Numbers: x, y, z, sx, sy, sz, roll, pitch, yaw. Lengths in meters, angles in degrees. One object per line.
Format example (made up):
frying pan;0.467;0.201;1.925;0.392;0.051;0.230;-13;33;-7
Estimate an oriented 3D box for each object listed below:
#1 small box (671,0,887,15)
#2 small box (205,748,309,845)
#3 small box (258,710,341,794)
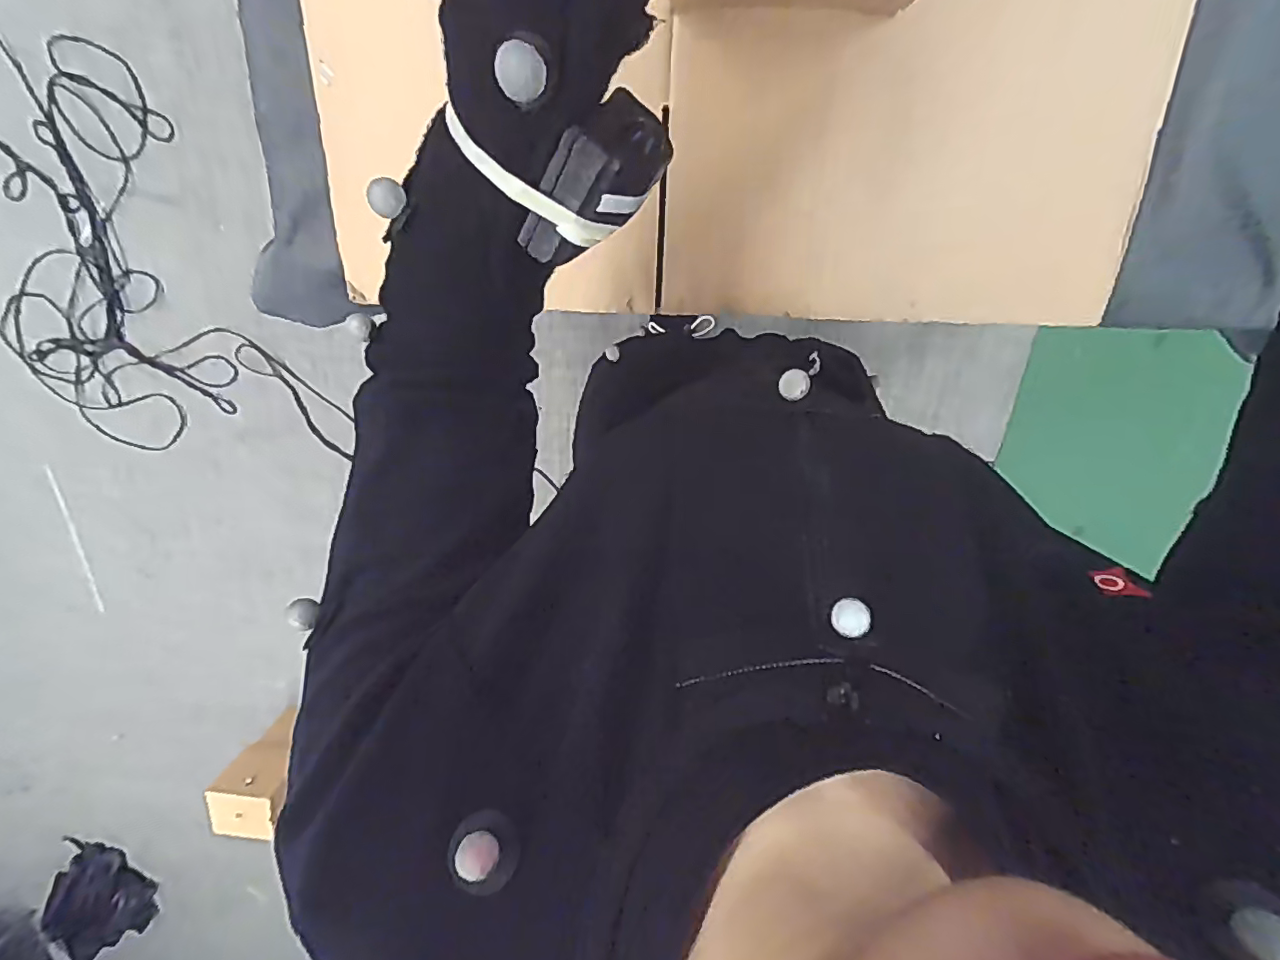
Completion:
small box;0.104;-0.390;0.291;0.179;0.176;0.168;1;108;2
small box;-1.090;0.900;1.552;0.179;0.176;0.168;7;110;-1
small box;-1.072;0.855;1.709;0.179;0.176;0.168;7;111;-1
